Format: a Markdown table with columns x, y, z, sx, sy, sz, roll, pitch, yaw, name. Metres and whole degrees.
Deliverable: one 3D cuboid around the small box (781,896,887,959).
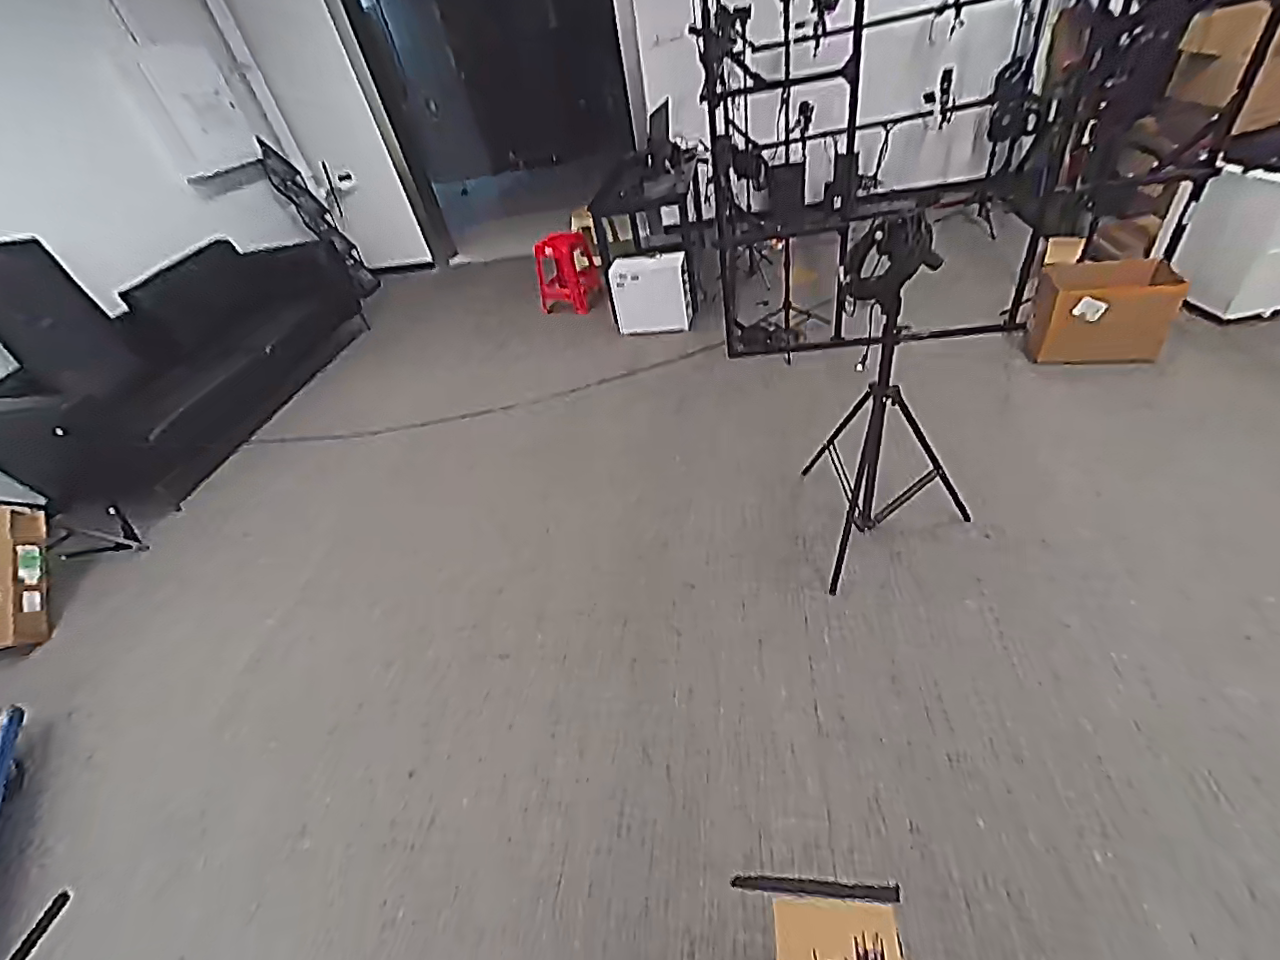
| x | y | z | sx | sy | sz | roll | pitch | yaw | name |
| --- | --- | --- | --- | --- | --- | --- | --- | --- | --- |
| 0.328 | 0.844 | 0.921 | 0.168 | 0.176 | 0.179 | -3 | 42 | 13 | small box |
